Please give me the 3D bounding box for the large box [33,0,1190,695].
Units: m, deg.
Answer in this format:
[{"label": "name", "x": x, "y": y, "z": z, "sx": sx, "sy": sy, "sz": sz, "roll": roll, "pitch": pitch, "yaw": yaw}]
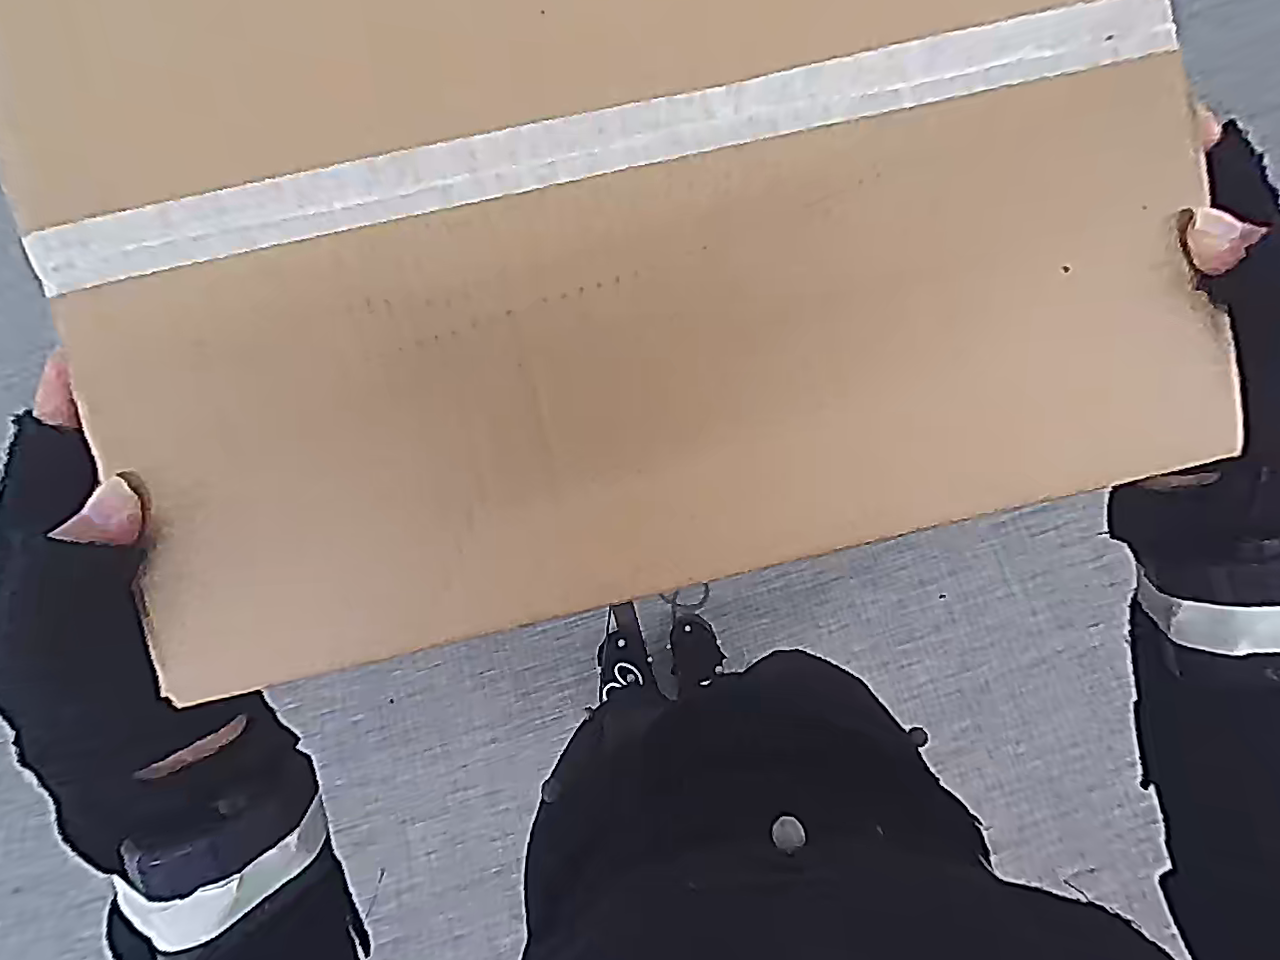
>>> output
[{"label": "large box", "x": -0.010, "y": -0.114, "z": 0.357, "sx": 0.408, "sy": 0.320, "sz": 0.320, "roll": -14, "pitch": 93, "yaw": -2}]
